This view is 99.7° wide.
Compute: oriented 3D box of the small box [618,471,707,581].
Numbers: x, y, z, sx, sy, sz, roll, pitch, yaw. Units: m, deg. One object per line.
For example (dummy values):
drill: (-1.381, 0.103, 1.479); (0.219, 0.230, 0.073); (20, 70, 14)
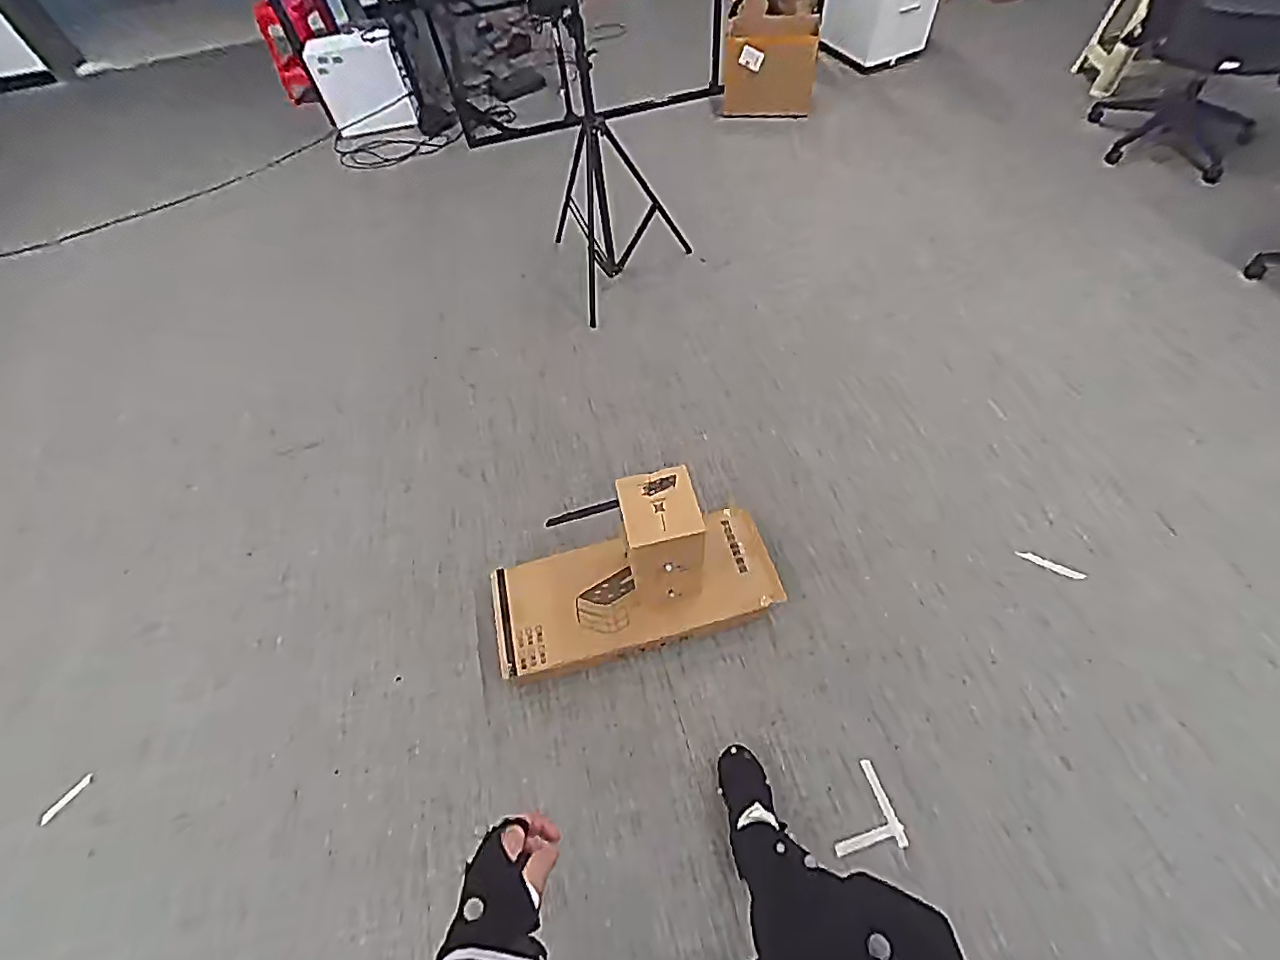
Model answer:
small box: (0.050, 0.108, 1.235); (0.168, 0.176, 0.179); (-13, 57, -2)

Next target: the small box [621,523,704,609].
small box: (0.056, 0.201, 1.369); (0.168, 0.176, 0.179); (-16, 56, -4)
